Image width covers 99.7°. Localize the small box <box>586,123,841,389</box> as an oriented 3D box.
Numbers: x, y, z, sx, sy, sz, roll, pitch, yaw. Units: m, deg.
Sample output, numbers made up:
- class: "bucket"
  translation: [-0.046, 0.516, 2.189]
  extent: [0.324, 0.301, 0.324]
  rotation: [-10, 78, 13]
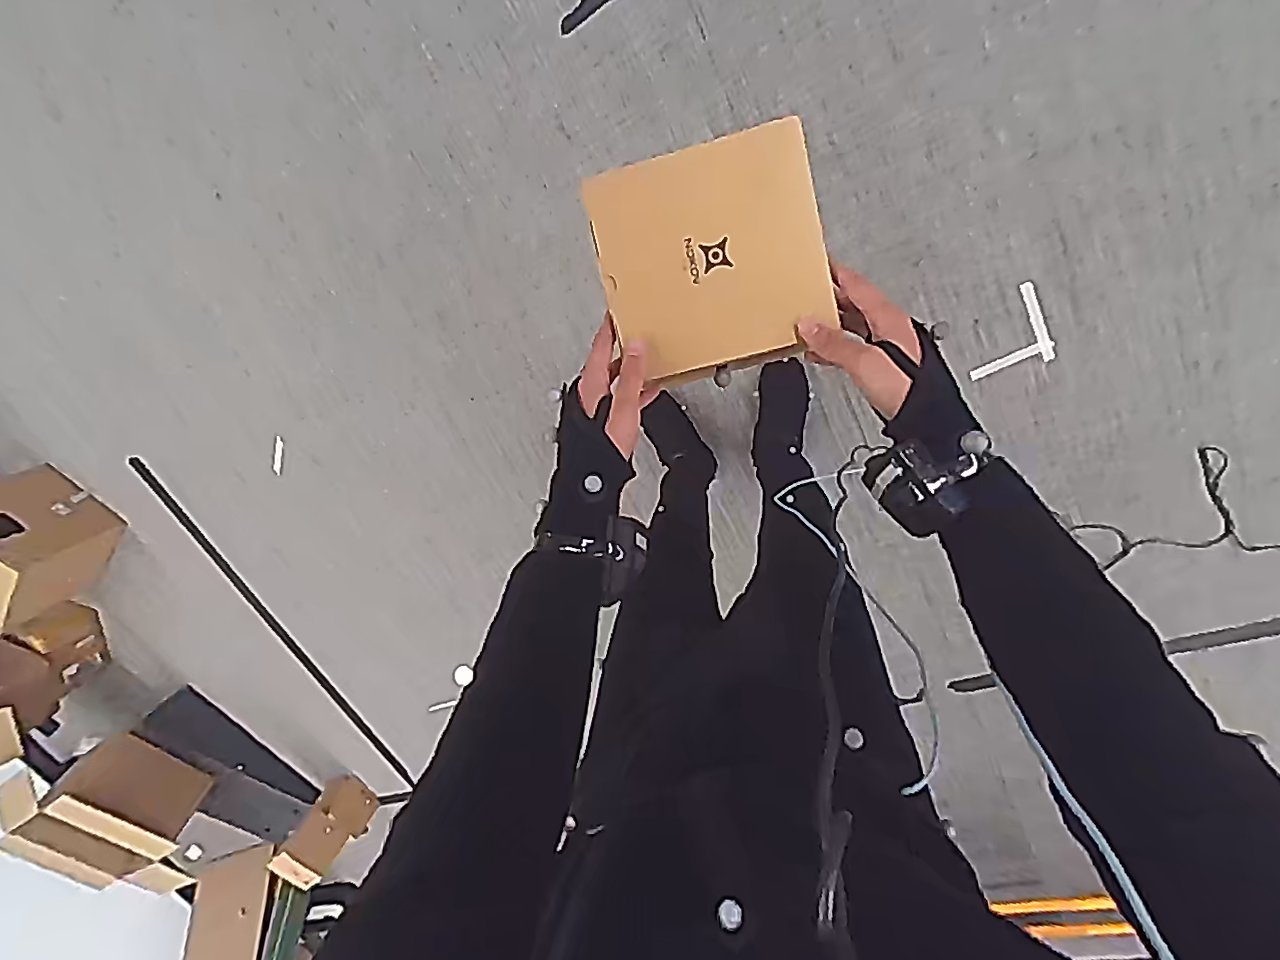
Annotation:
- class: "small box"
  translation: [0.065, -0.185, 0.502]
  extent: [0.179, 0.176, 0.168]
  rotation: [-12, 98, 8]
